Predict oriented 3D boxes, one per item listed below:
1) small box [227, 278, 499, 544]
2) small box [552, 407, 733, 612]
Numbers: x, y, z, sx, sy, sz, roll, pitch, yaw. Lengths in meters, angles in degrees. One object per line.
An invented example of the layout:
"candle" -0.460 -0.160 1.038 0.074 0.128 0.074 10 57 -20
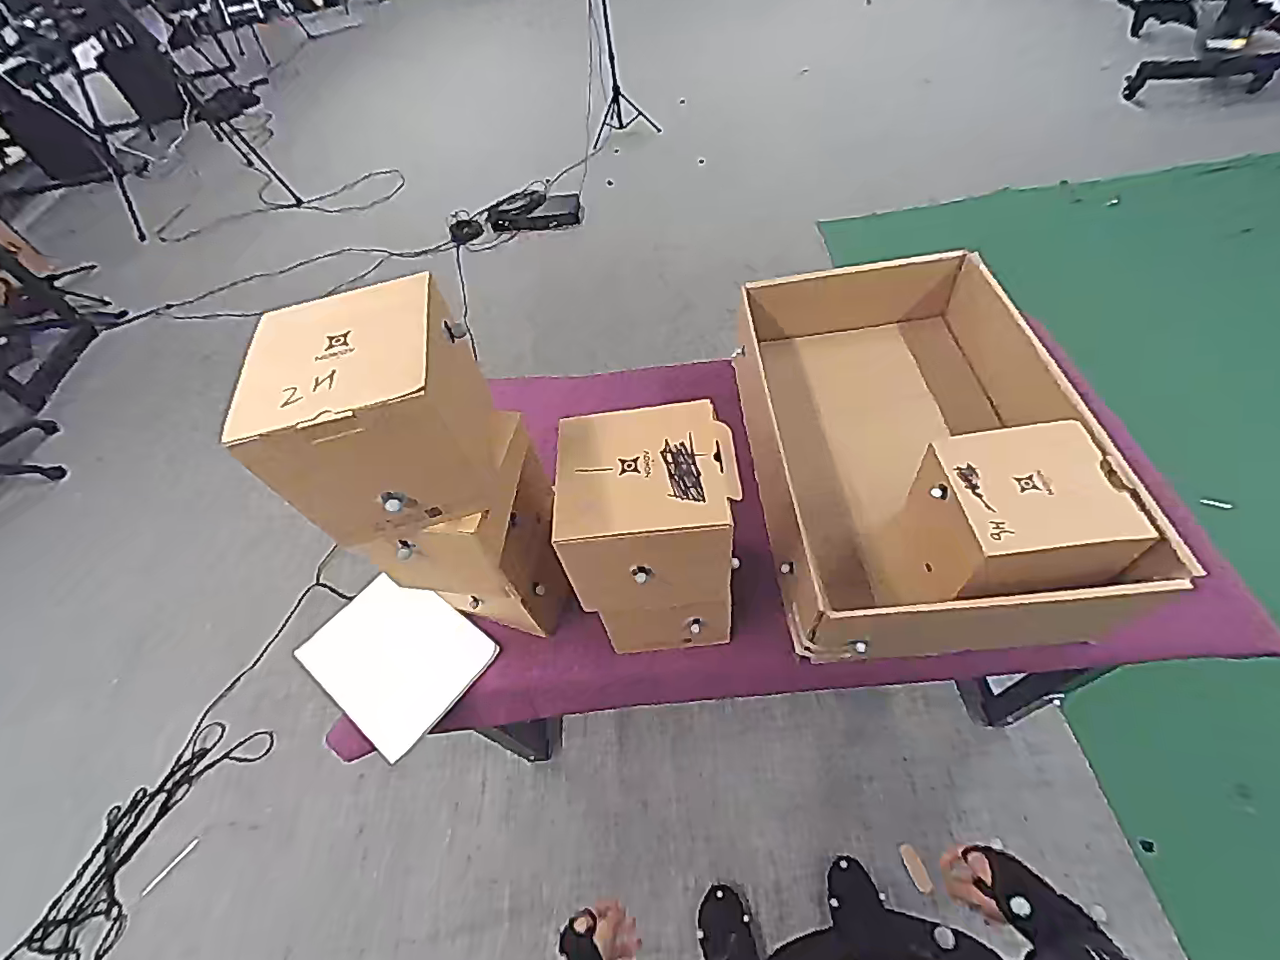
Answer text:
"small box" -0.249 -0.064 0.535 0.168 0.176 0.179 -15 53 -1
"small box" 0.008 0.039 0.623 0.179 0.176 0.168 -6 52 4
